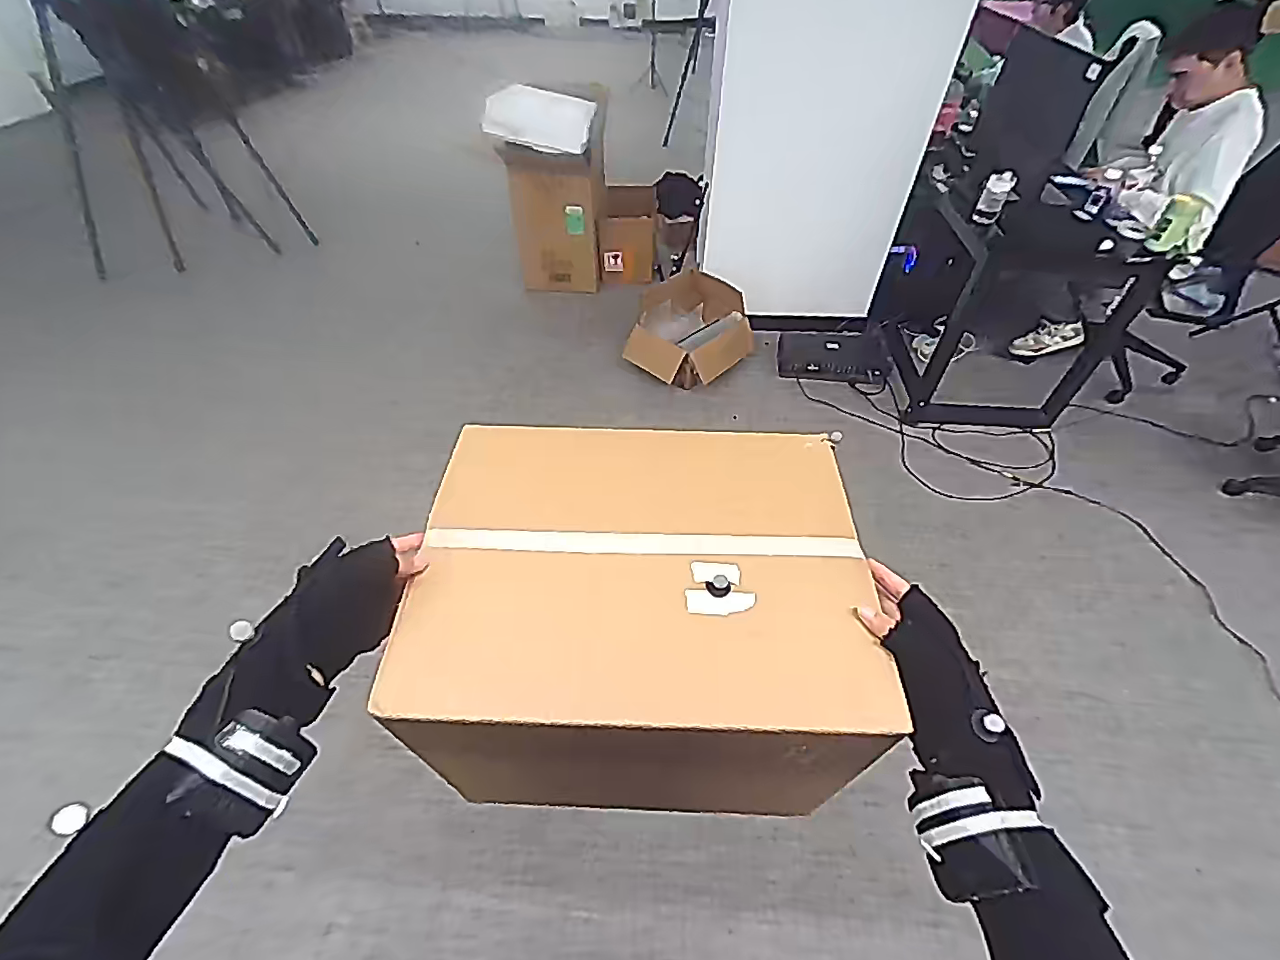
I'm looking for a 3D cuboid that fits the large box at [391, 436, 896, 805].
[{"bbox_3d":[0.002,0.167,0.626,0.408,0.320,0.320,2,49,0],"label":"large box"}]
